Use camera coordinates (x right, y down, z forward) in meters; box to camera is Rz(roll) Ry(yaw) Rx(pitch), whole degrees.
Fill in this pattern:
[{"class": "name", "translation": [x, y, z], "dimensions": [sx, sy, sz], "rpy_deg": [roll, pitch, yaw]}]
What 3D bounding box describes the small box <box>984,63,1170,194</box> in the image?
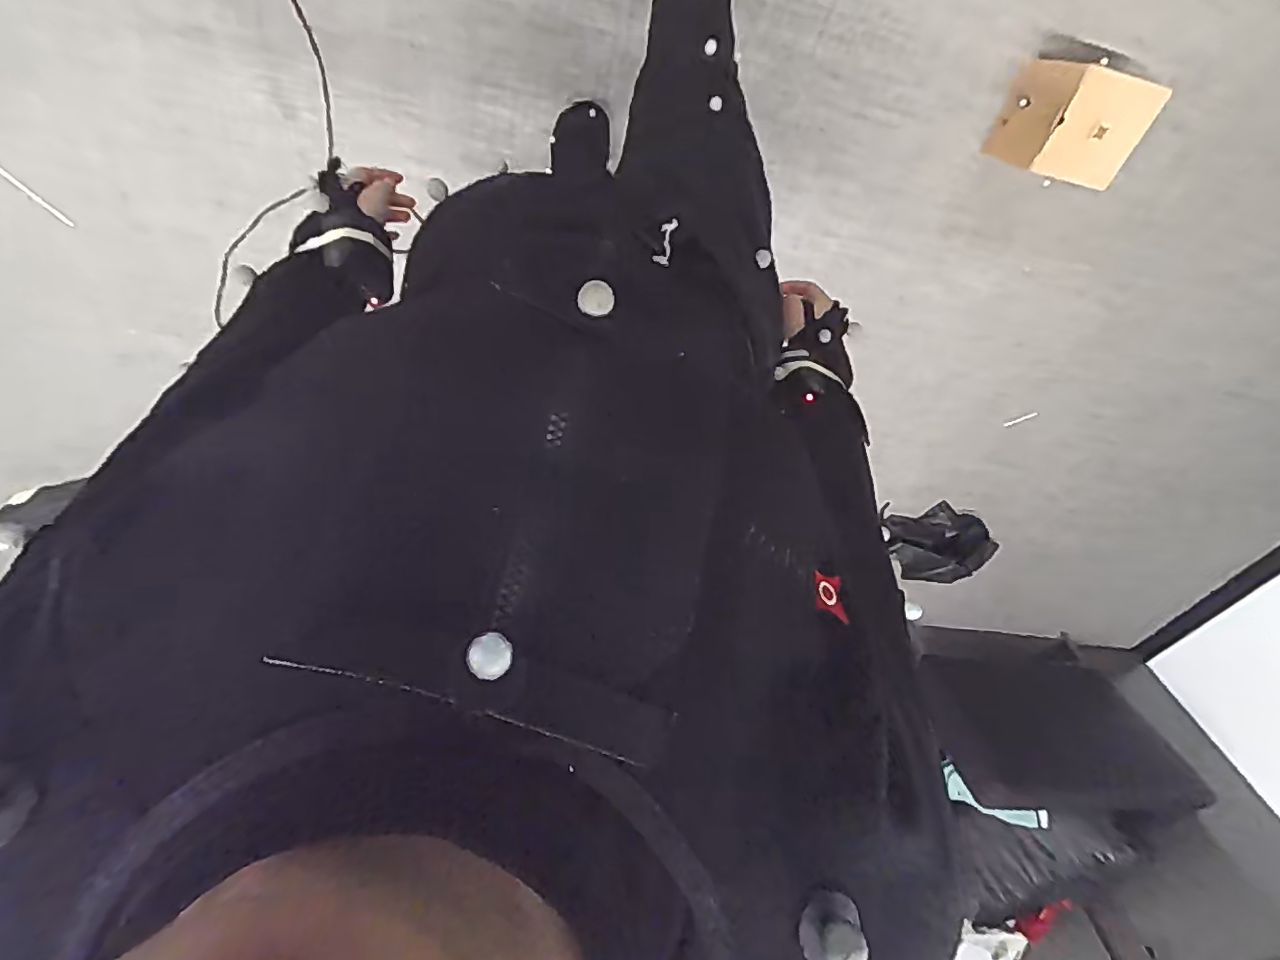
[{"class": "small box", "translation": [0.815, -0.672, 1.030], "dimensions": [0.179, 0.176, 0.168], "rpy_deg": [7, 130, -11]}]
